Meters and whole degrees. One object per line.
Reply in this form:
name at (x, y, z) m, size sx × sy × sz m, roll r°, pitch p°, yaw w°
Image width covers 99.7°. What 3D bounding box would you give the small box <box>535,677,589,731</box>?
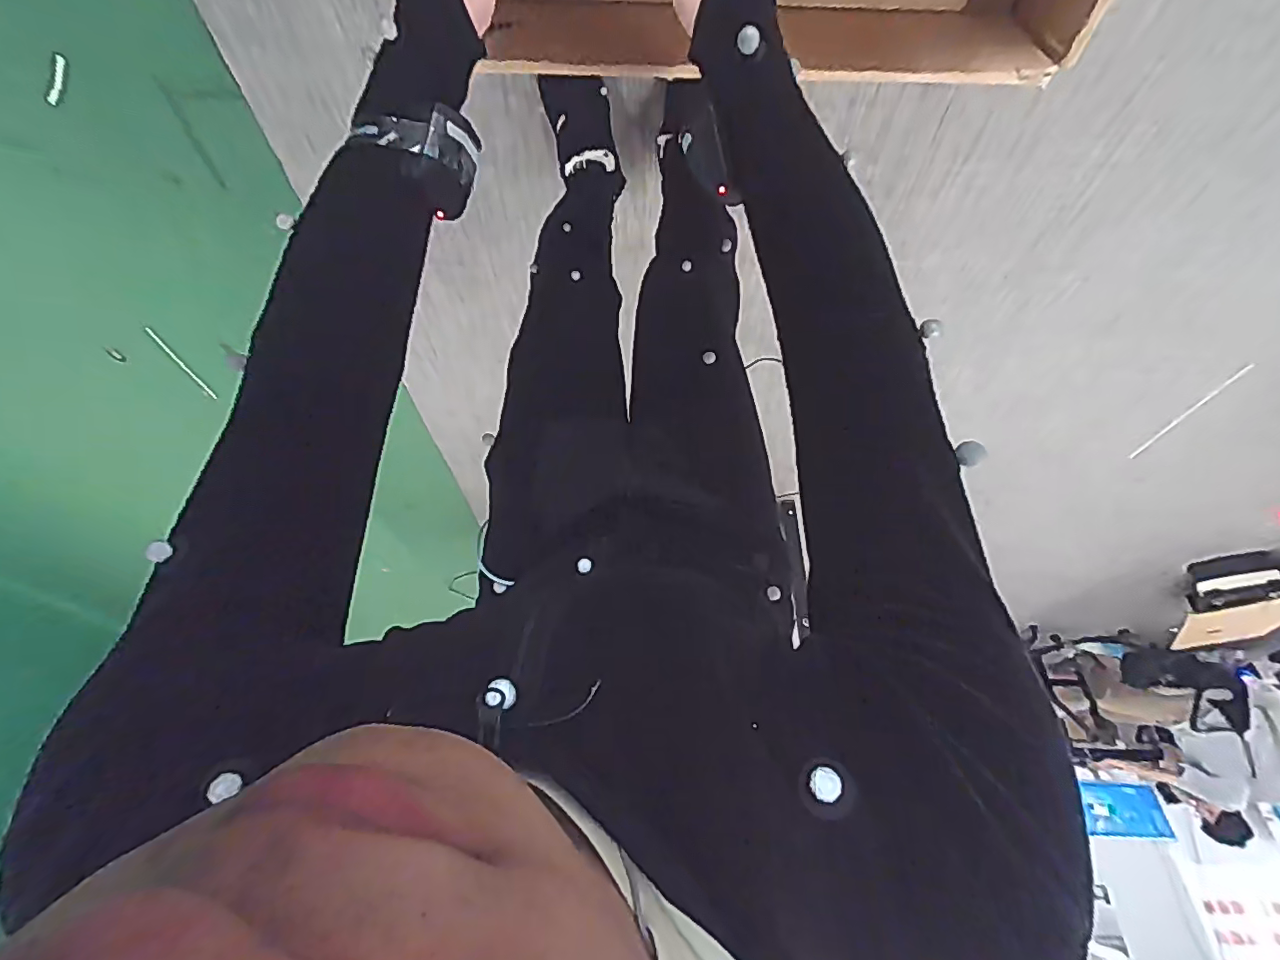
small box at (-0.292, 0.852, 2.058) m, size 0.179 × 0.176 × 0.168 m, roll 0°, pitch 149°, yaw 1°
